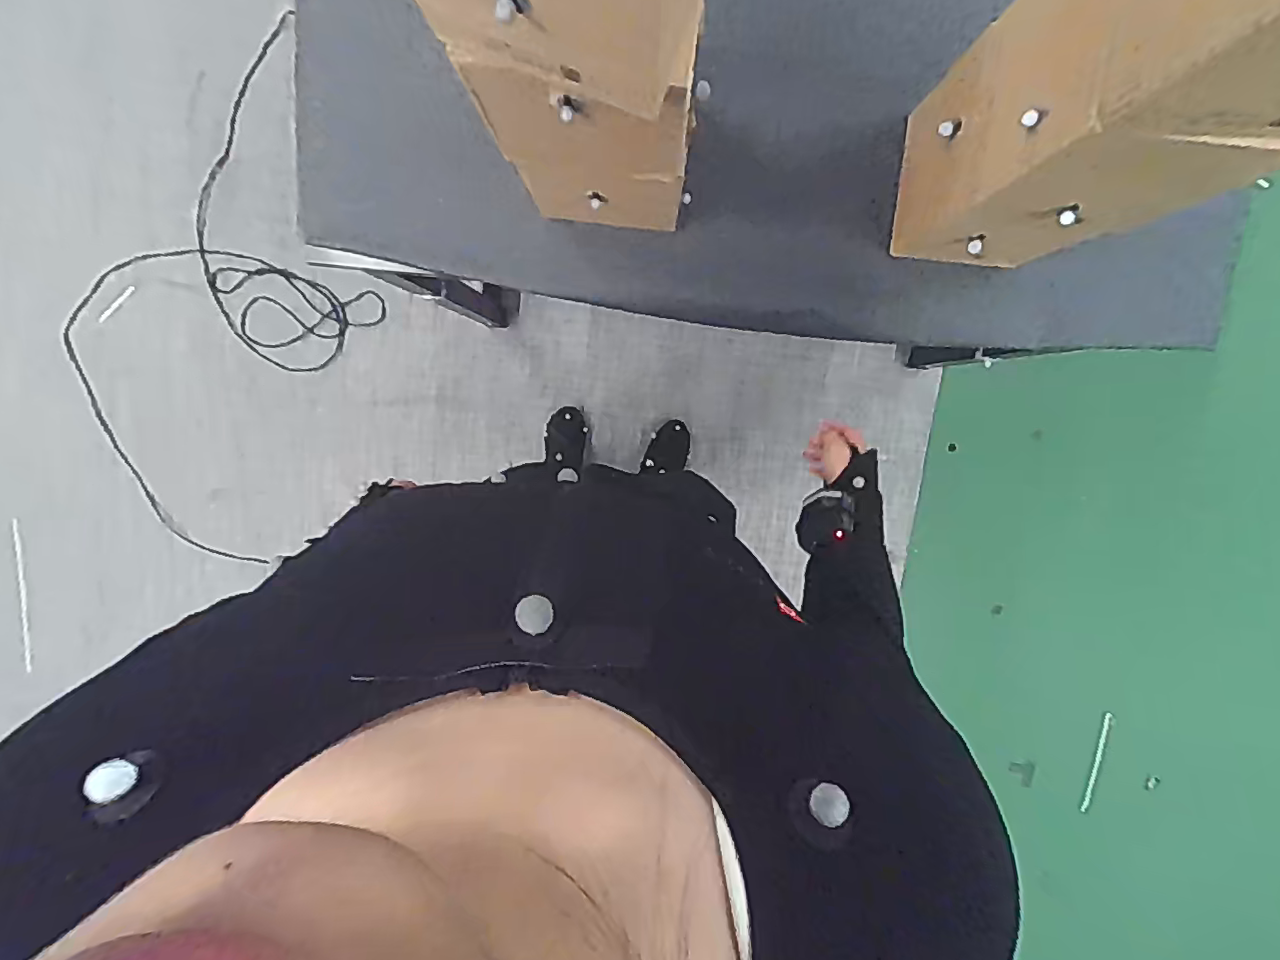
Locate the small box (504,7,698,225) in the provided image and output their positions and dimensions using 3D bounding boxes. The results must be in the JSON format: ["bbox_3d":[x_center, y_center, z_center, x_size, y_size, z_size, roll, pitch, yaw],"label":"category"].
[{"bbox_3d":[-0.039,-0.401,0.605,0.179,0.176,0.168,7,98,1],"label":"small box"}]

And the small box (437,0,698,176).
[{"bbox_3d":[-0.044,-0.375,0.445,0.179,0.176,0.168,8,99,-1],"label":"small box"}]

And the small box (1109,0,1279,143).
[{"bbox_3d":[0.397,-0.310,0.279,0.168,0.176,0.179,3,97,1],"label":"small box"}]

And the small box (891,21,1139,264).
[{"bbox_3d":[0.404,-0.355,0.605,0.168,0.176,0.179,6,97,0],"label":"small box"}]
